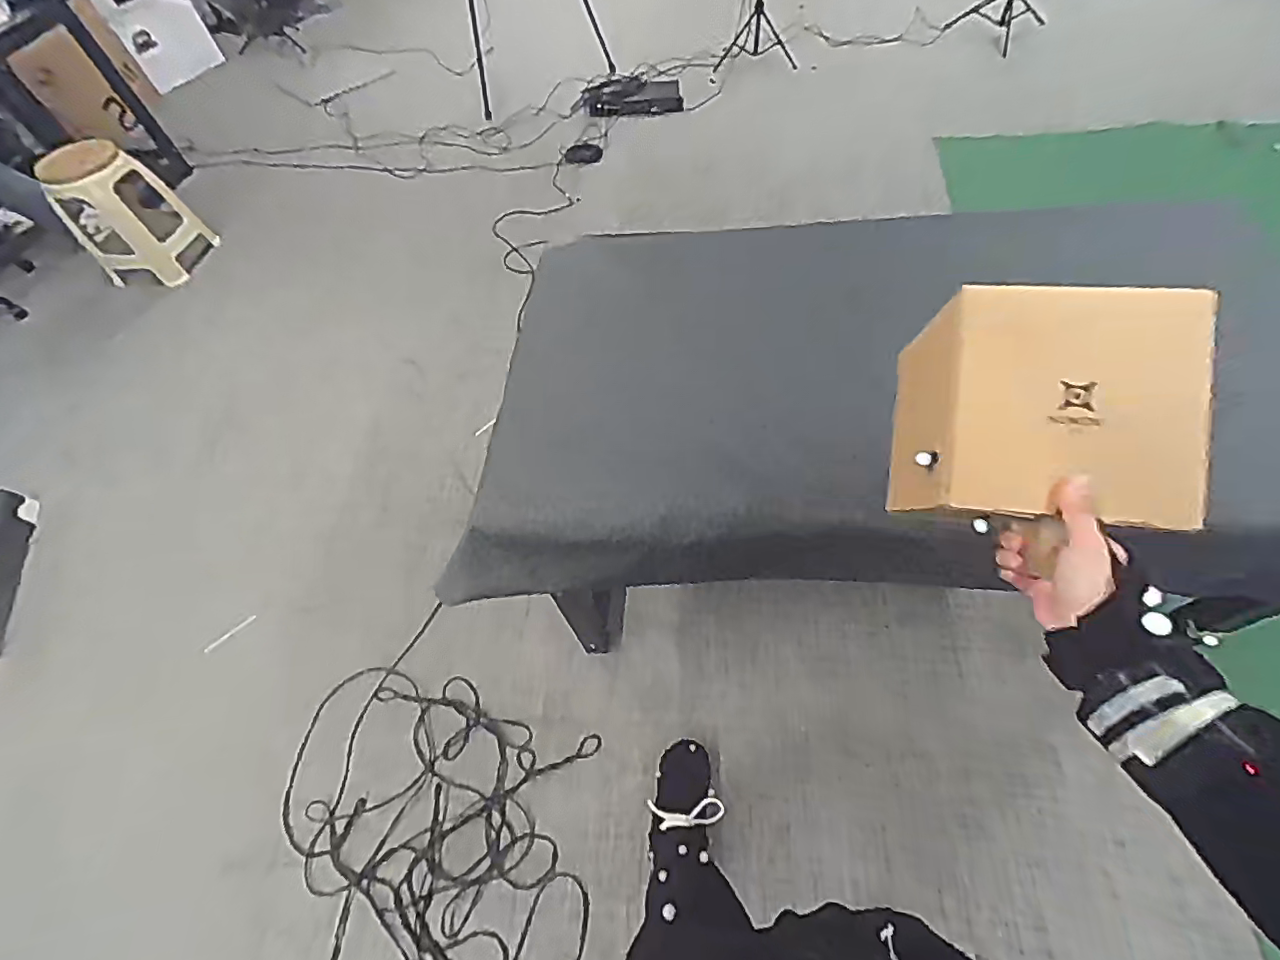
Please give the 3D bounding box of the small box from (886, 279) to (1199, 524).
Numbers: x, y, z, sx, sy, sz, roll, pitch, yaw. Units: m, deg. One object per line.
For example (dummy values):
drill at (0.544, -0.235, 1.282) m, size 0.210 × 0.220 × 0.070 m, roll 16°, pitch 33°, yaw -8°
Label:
small box at (0.329, -0.056, 0.479) m, size 0.168 × 0.176 × 0.179 m, roll 5°, pitch 86°, yaw 11°
